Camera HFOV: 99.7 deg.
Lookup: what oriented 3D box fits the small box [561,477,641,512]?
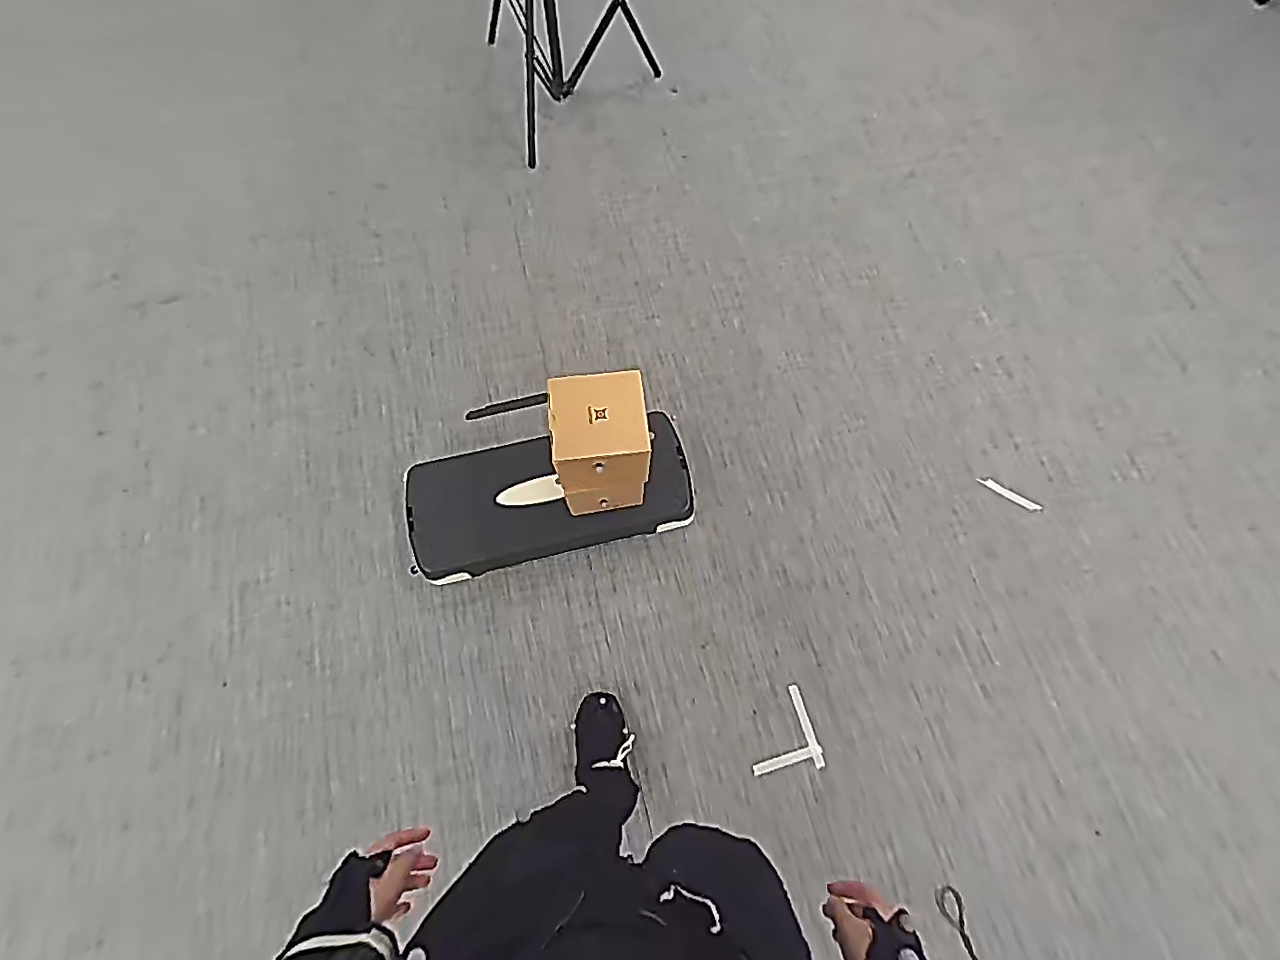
[{"bbox_3d":[-0.091,-0.036,1.197,0.168,0.176,0.179,-9,71,-5],"label":"small box"}]

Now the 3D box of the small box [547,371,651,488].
[{"bbox_3d":[-0.077,-0.091,1.044,0.179,0.176,0.168,-7,72,-3],"label":"small box"}]
